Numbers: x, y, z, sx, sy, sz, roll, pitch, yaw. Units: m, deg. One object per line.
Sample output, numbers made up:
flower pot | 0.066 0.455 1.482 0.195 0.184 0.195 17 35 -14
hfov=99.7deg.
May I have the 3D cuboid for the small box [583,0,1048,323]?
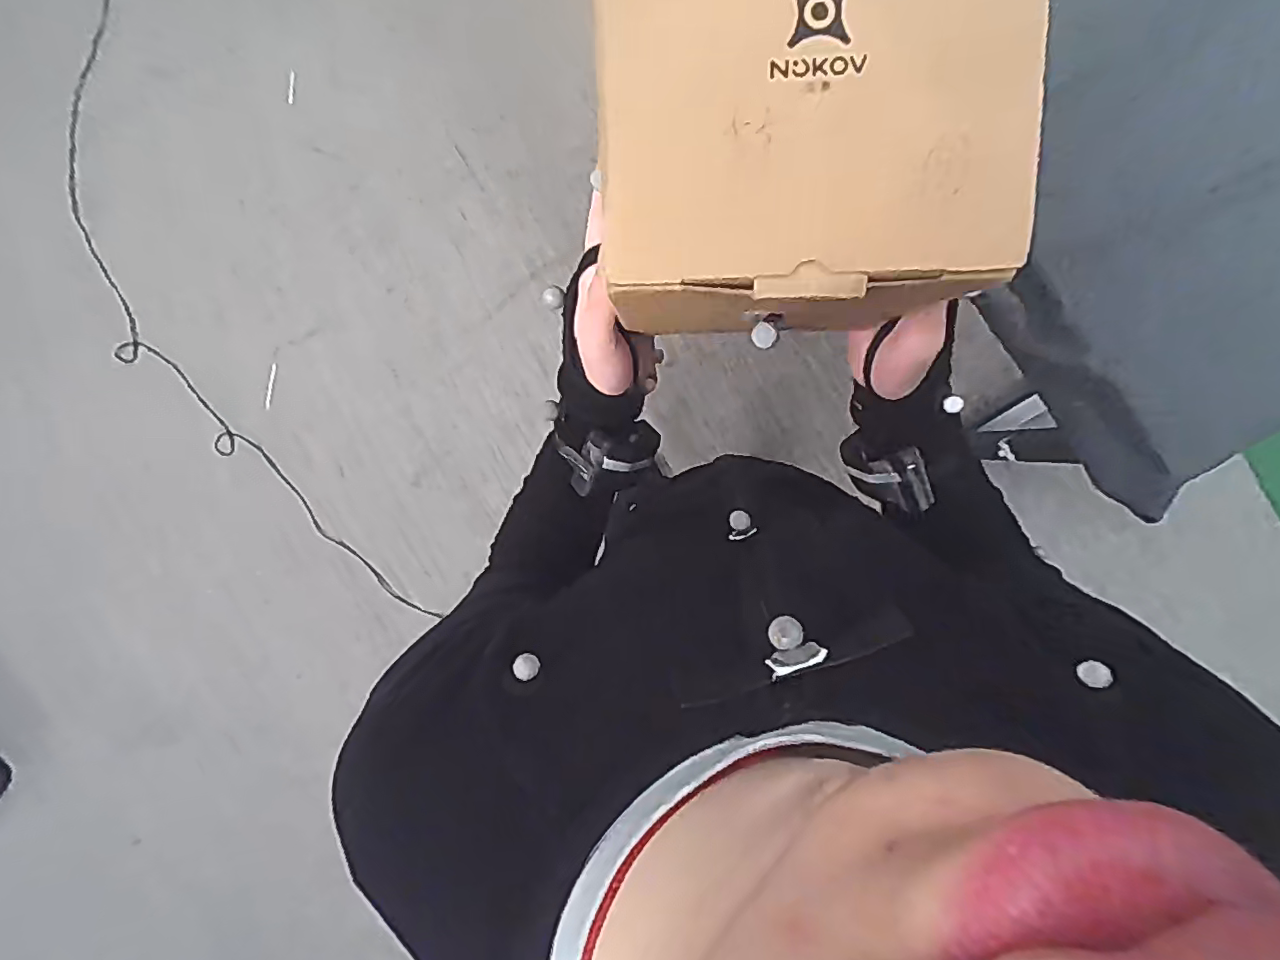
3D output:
small box | 0.063 -0.174 0.272 0.168 0.176 0.179 -1 100 0
